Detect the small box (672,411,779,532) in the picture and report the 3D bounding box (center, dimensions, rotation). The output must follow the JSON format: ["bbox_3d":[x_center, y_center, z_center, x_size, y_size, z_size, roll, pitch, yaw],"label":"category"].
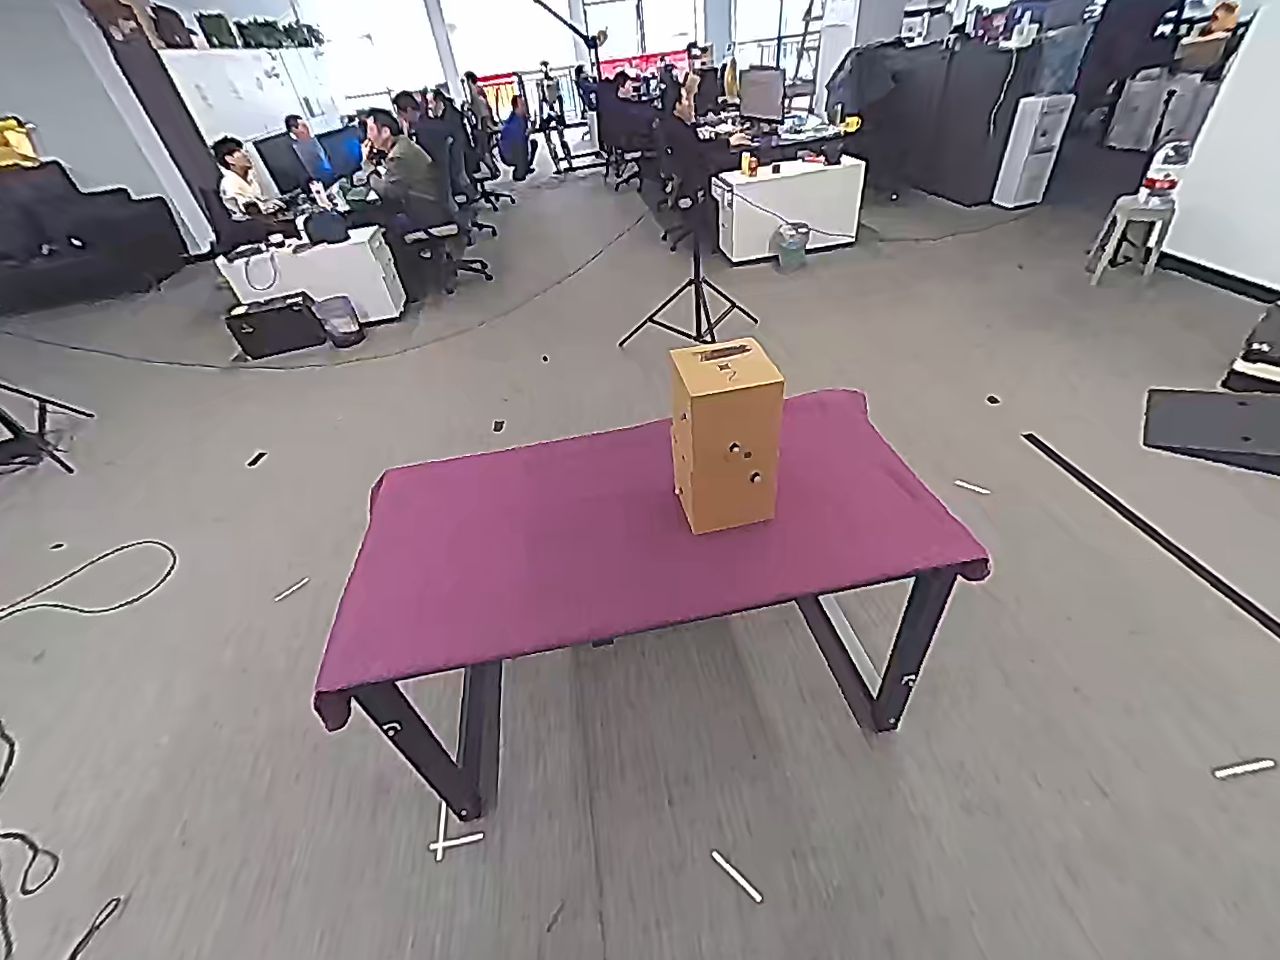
[{"bbox_3d":[0.172,-0.017,1.120,0.179,0.176,0.168,-12,39,-4],"label":"small box"}]
